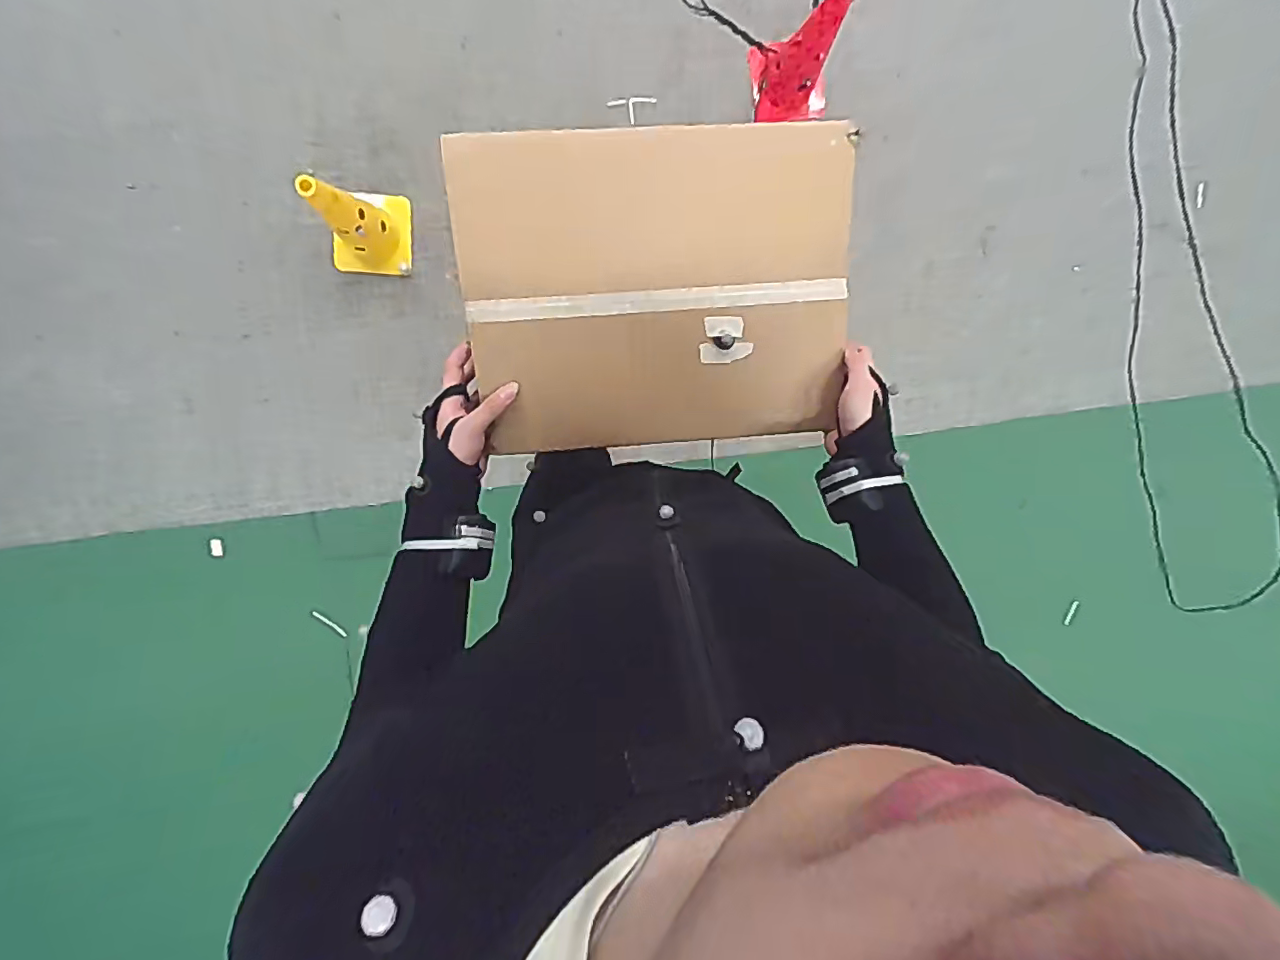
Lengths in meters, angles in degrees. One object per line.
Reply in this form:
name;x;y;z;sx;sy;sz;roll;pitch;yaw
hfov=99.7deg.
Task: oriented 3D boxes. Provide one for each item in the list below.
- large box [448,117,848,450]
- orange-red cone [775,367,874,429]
large box;0.007;-0.245;0.714;0.408;0.320;0.320;-5;110;-5
orange-red cone;0.523;-0.221;1.457;0.199;0.360;0.198;-1;100;-7
